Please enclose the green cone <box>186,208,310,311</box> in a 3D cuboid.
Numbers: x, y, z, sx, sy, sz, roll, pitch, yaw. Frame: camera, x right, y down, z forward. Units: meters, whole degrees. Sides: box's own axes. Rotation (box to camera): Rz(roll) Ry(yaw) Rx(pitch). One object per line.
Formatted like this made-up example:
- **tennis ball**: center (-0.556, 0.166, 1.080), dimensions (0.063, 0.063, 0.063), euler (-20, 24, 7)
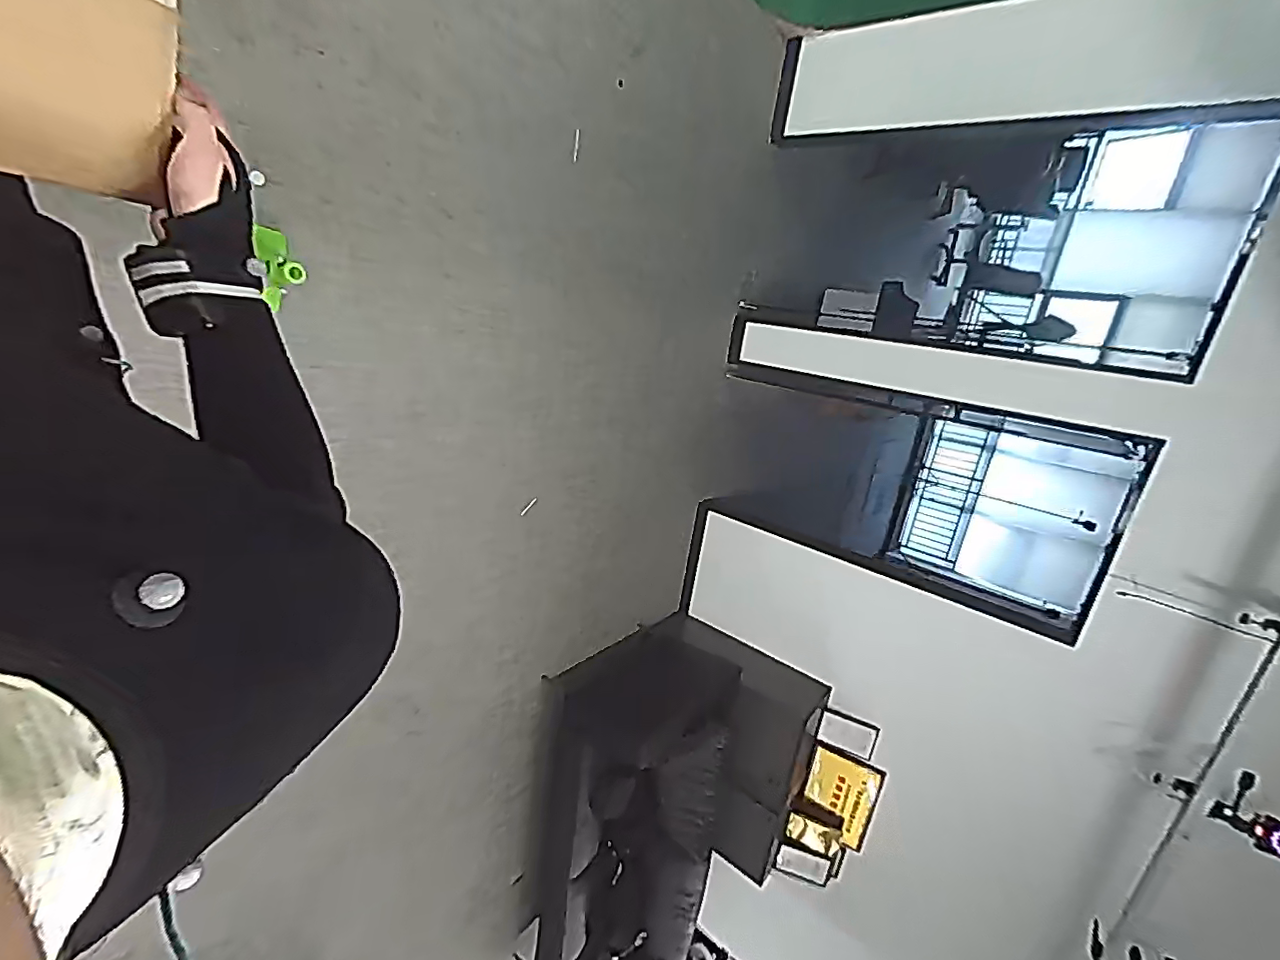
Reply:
- **green cone**: center (-0.840, -0.482, 1.218), dimensions (0.200, 0.368, 0.202), euler (-4, 109, -54)
